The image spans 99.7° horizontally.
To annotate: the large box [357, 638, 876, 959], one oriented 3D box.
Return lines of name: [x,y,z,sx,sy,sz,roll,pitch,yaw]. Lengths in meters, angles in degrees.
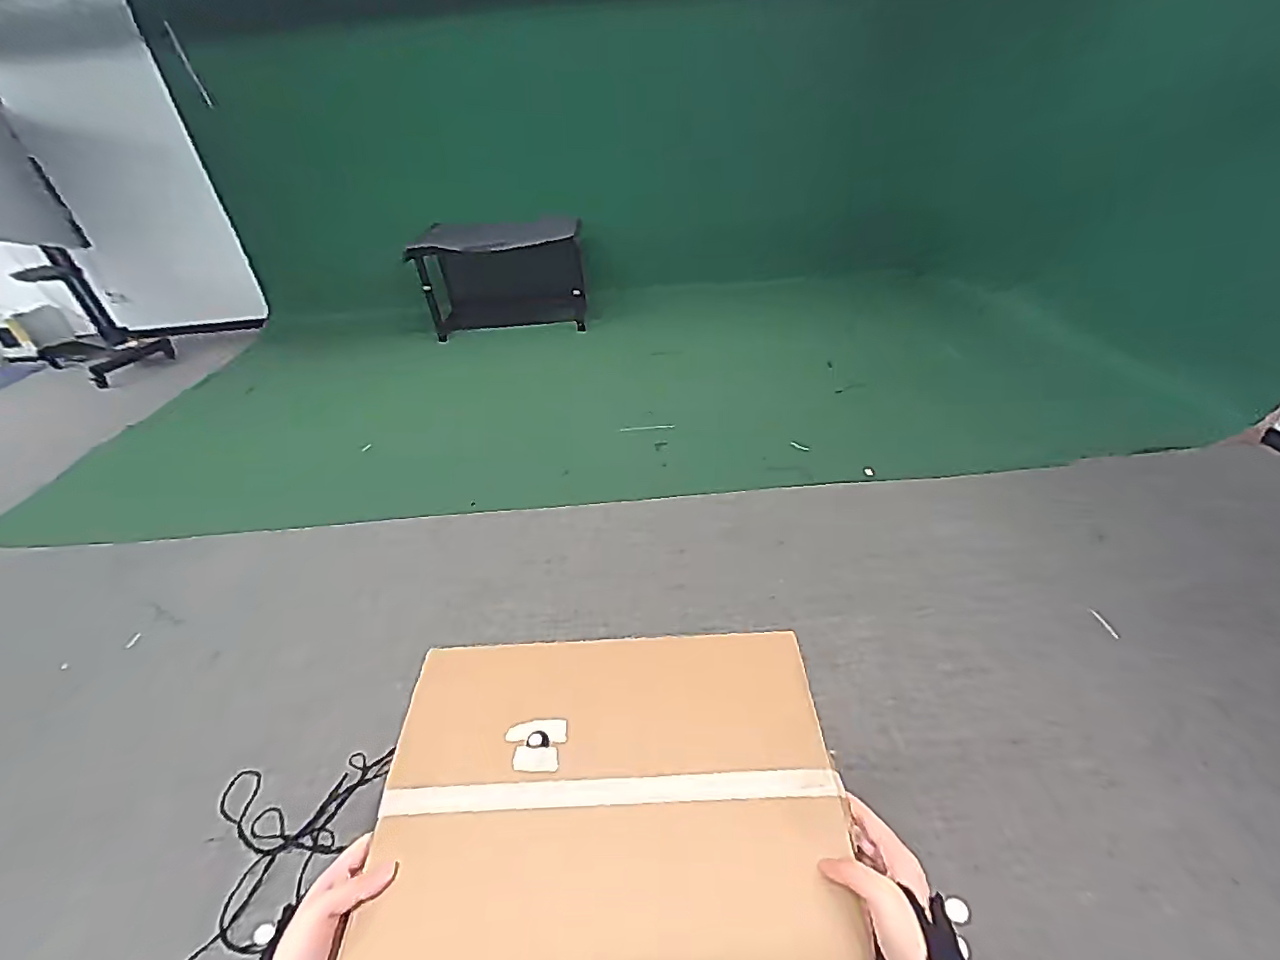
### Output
large box: [-0.012,0.403,0.587,0.408,0.320,0.320,-5,41,3]
